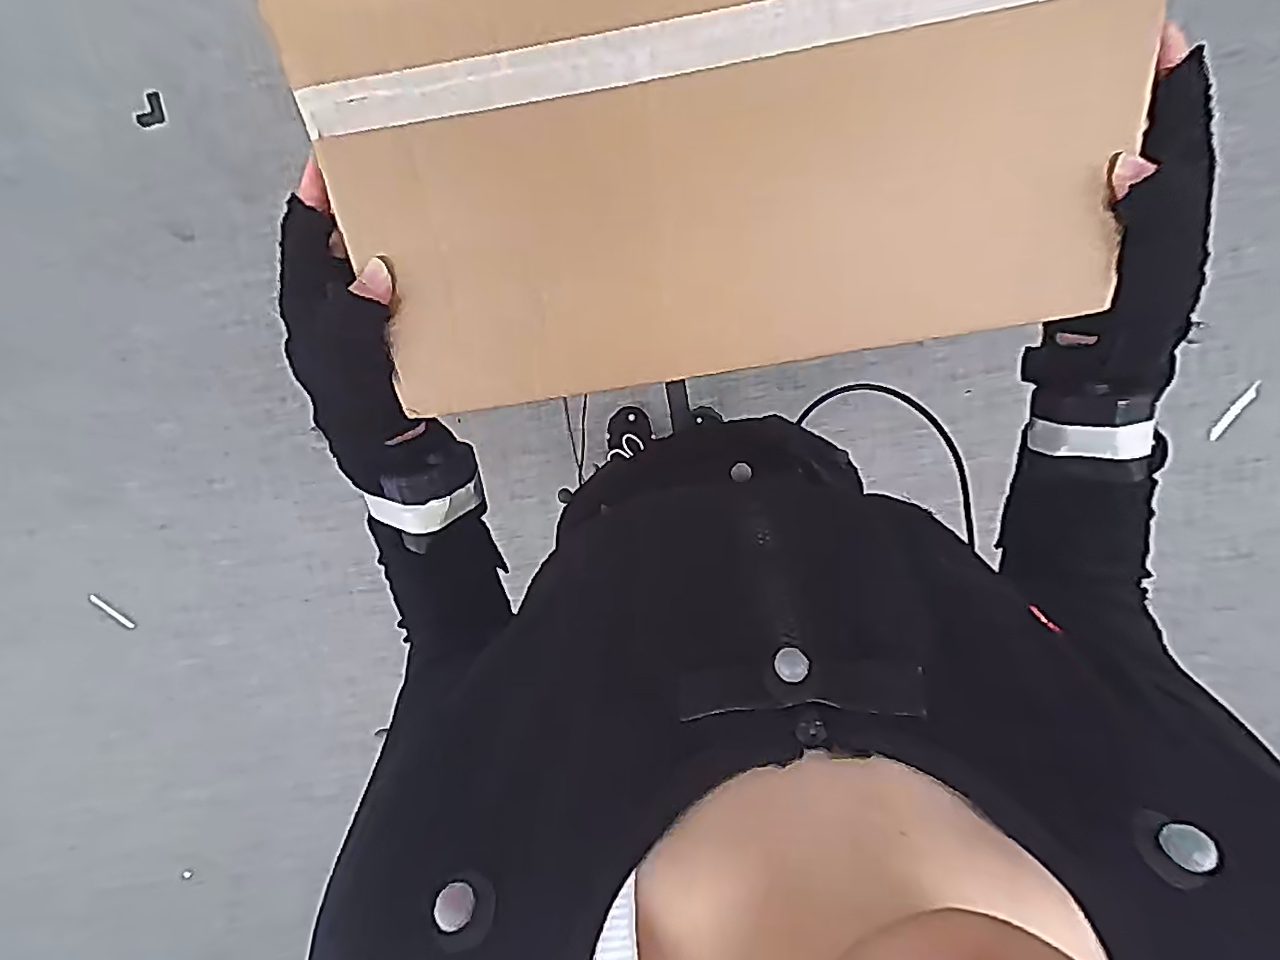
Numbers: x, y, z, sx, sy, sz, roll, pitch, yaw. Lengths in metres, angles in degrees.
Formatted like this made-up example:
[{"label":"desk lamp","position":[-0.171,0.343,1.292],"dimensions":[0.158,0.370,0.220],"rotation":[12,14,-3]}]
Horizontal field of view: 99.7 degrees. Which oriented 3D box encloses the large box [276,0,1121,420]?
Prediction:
[{"label":"large box","position":[0.032,-0.265,0.400],"dimensions":[0.408,0.320,0.320],"rotation":[-9,112,3]}]
